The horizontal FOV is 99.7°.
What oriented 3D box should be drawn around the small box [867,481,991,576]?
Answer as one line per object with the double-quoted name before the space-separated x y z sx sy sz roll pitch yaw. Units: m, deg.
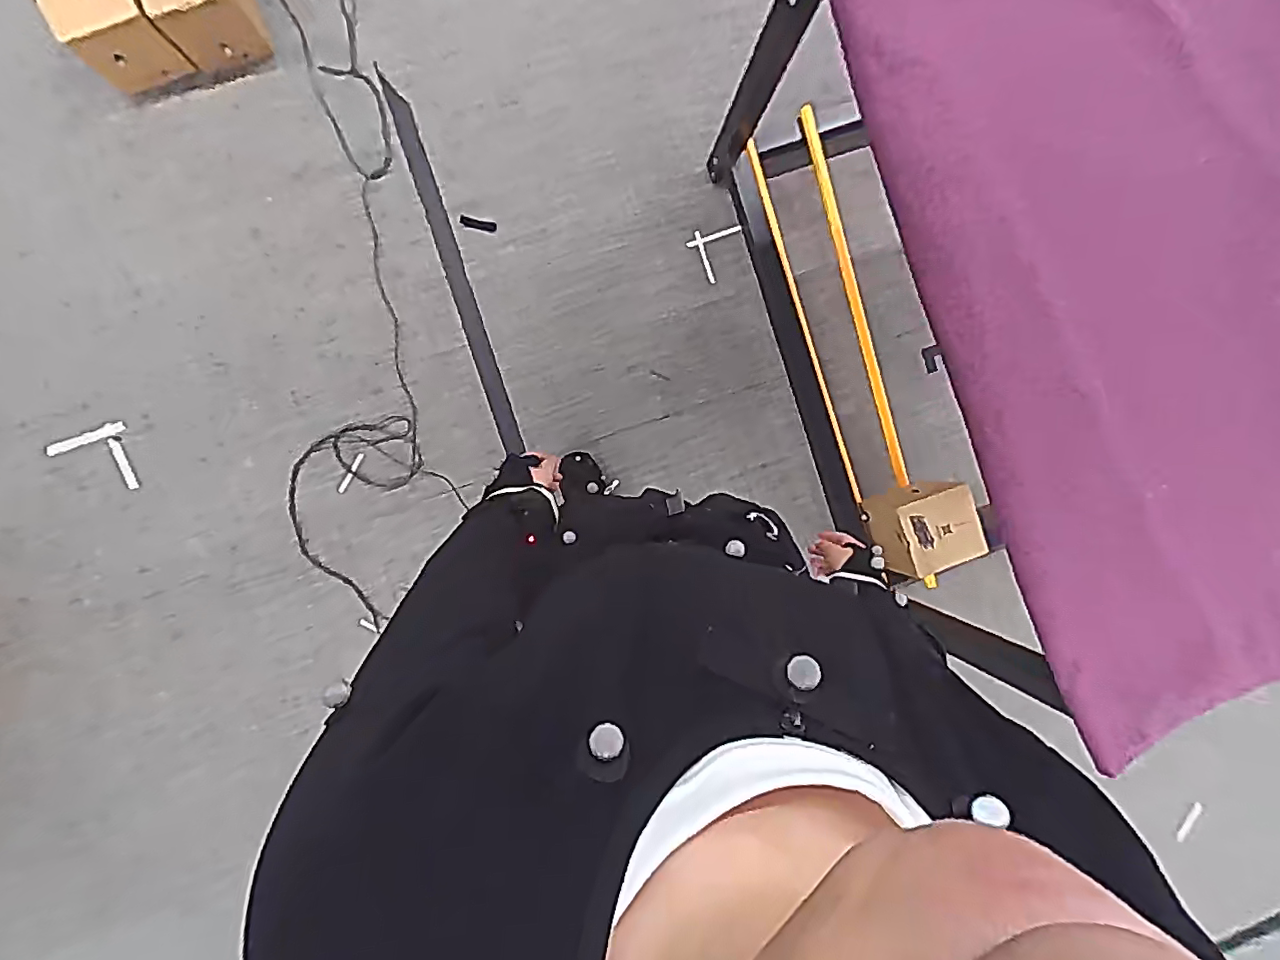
"small box" 0.647 0.104 1.237 0.179 0.176 0.168 -18 93 -5
